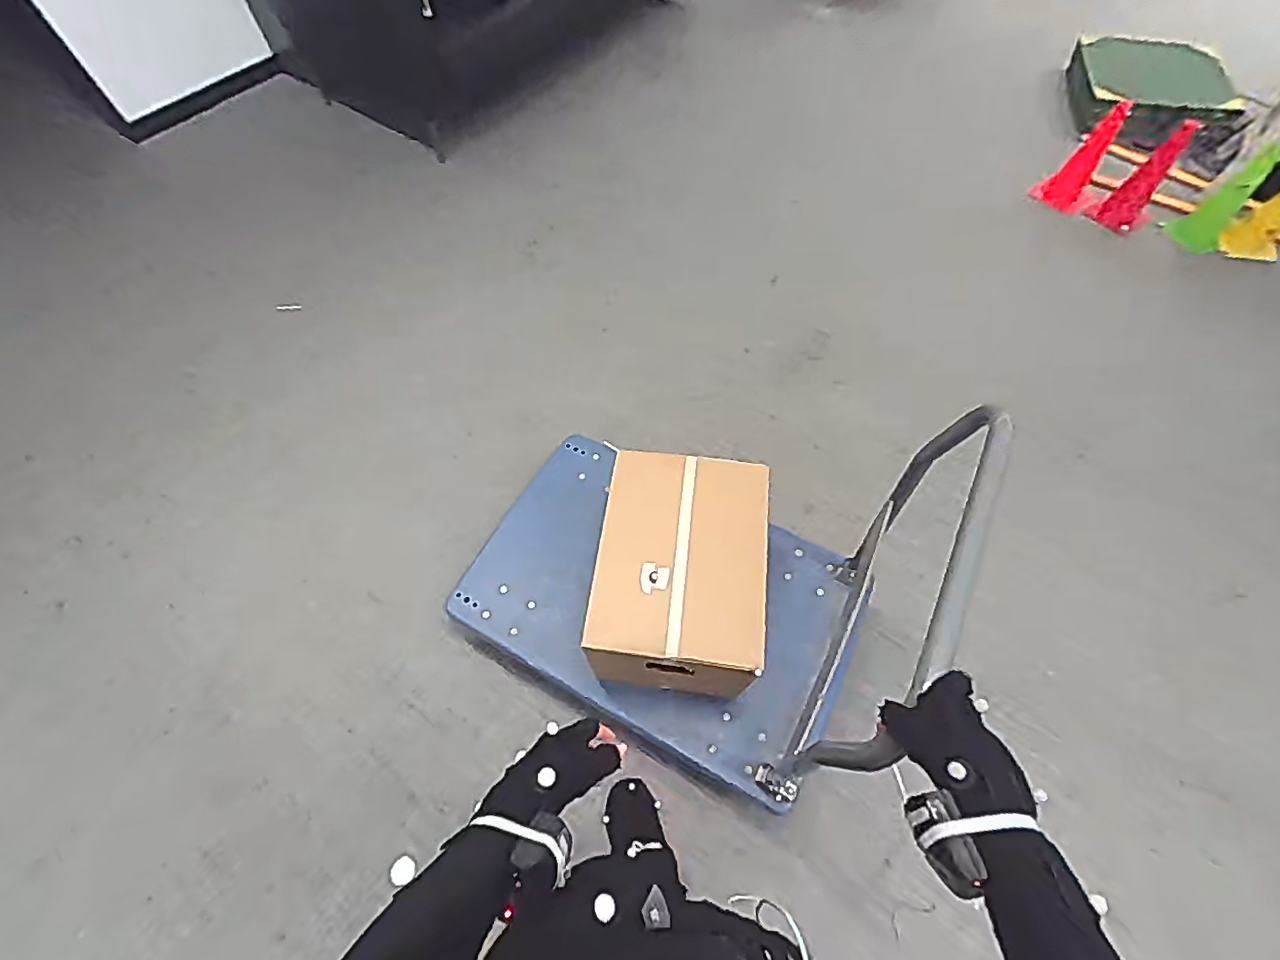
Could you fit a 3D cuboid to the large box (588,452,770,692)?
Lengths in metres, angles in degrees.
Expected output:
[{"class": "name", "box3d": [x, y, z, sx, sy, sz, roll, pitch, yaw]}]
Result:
[{"class": "large box", "box3d": [0.085, 0.200, 1.140, 0.320, 0.320, 0.408, 6, 62, 5]}]
